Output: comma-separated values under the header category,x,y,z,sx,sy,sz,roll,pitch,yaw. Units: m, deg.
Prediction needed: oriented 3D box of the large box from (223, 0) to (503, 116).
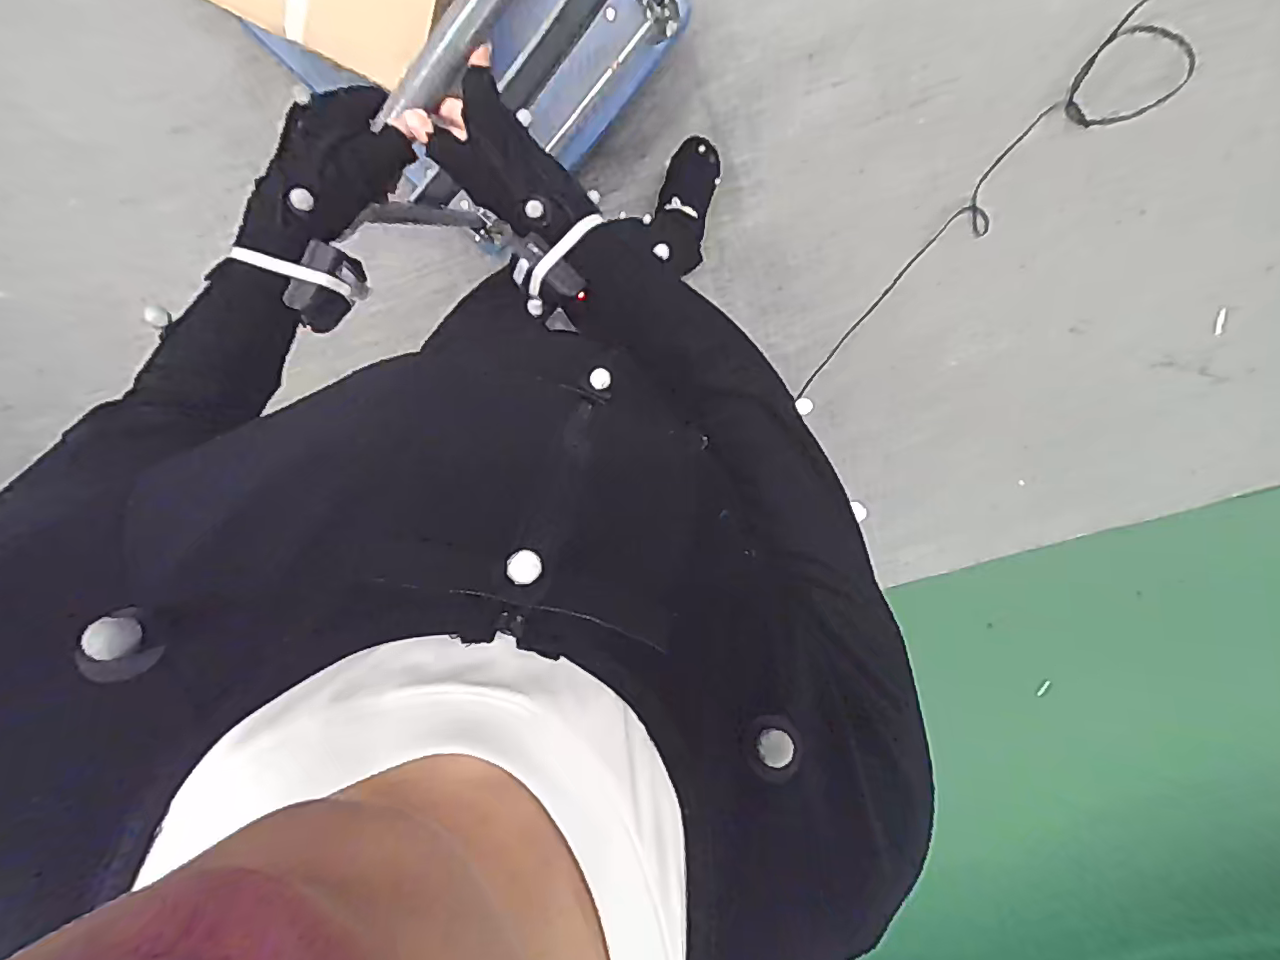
category,x,y,z,sx,sy,sz,roll,pitch,yaw
large box,-0.360,-0.815,0.762,0.320,0.320,0.408,21,116,-13
